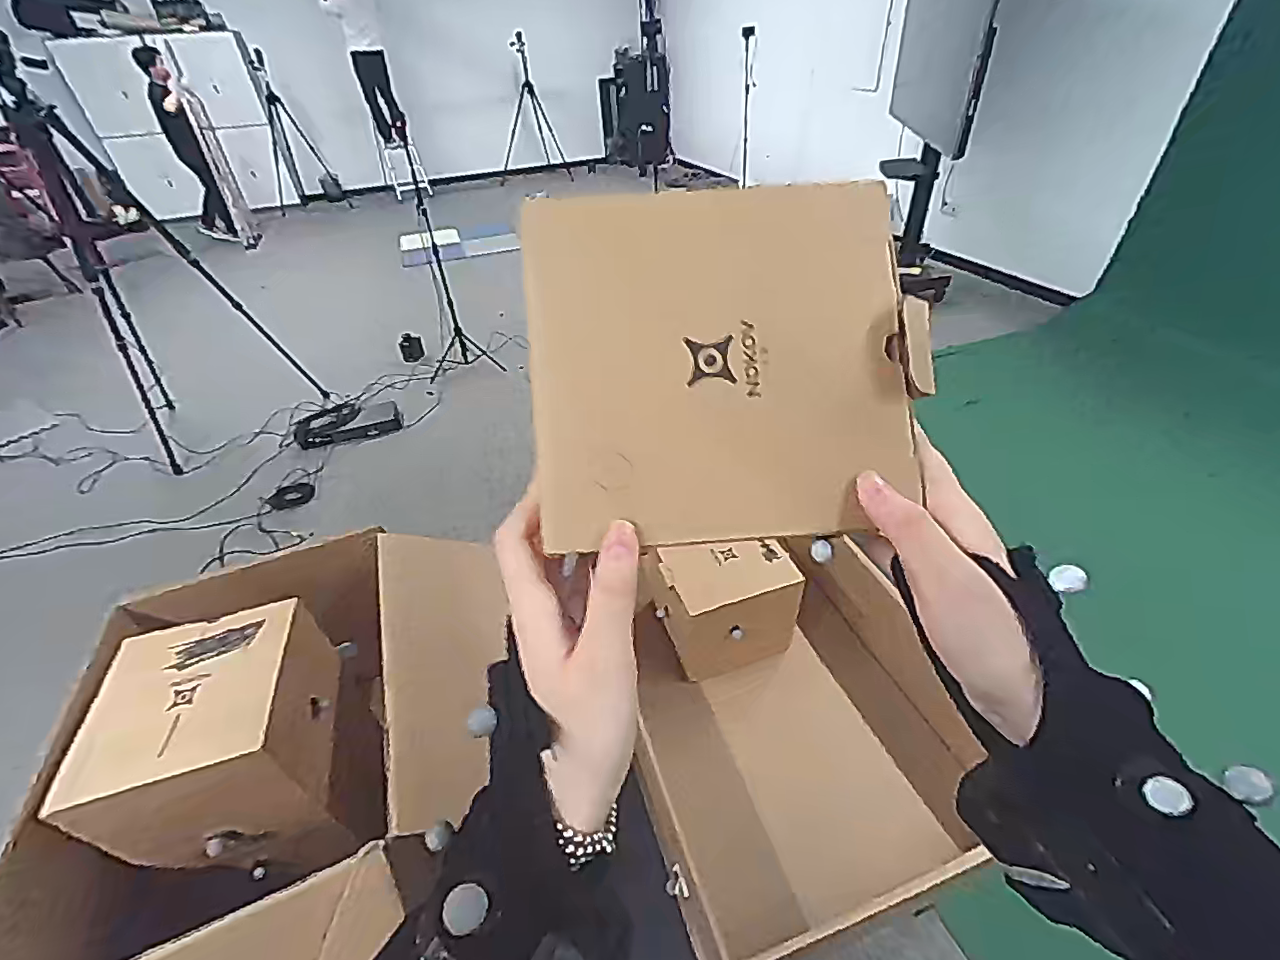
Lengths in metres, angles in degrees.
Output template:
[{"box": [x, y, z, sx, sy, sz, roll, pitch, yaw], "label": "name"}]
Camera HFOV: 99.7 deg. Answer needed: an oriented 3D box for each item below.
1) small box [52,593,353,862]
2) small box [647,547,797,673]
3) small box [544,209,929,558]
[{"box": [-0.419, 0.253, 0.563, 0.168, 0.176, 0.179, -13, 42, -12], "label": "small box"}, {"box": [0.119, 0.171, 0.839, 0.179, 0.176, 0.168, -15, 43, -12], "label": "small box"}, {"box": [0.043, -0.041, 0.338, 0.179, 0.168, 0.176, -4, -5, -2], "label": "small box"}]
